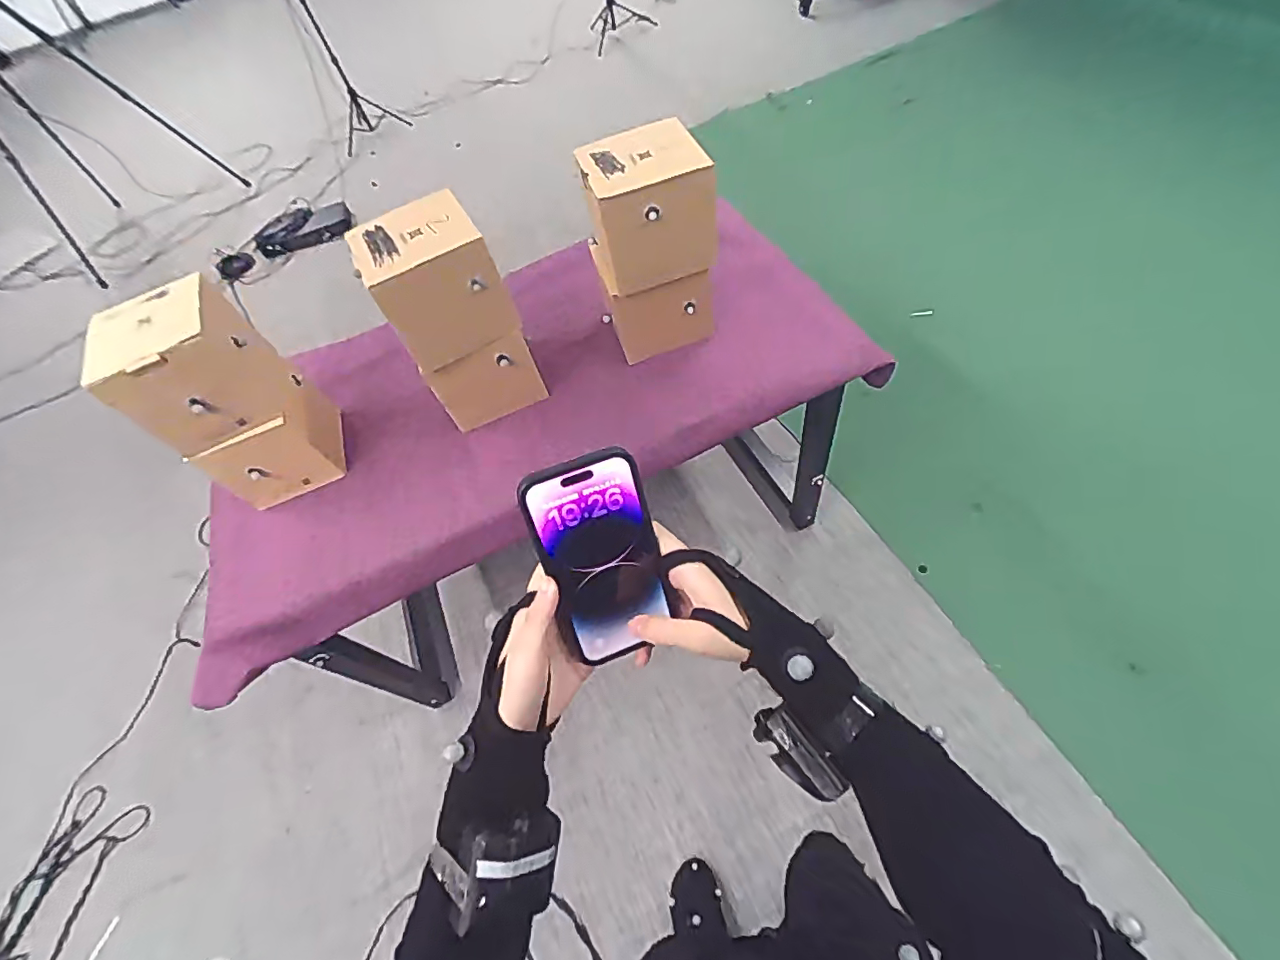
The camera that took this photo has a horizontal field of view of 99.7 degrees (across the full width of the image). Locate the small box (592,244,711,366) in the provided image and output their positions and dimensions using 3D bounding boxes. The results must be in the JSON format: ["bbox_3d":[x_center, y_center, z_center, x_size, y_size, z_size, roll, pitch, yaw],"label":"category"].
[{"bbox_3d":[0.027,-0.345,1.011,0.179,0.176,0.168,-19,55,-1],"label":"small box"}]

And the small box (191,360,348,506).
[{"bbox_3d":[-0.652,-0.075,0.969,0.168,0.176,0.179,-24,56,-4],"label":"small box"}]

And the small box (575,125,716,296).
[{"bbox_3d":[0.014,-0.425,0.868,0.179,0.176,0.168,-19,56,-2],"label":"small box"}]

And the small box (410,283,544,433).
[{"bbox_3d":[-0.288,-0.218,0.989,0.179,0.176,0.168,-24,56,-5],"label":"small box"}]

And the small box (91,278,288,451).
[{"bbox_3d":[-0.682,-0.168,0.838,0.168,0.176,0.179,-28,57,-8],"label":"small box"}]
